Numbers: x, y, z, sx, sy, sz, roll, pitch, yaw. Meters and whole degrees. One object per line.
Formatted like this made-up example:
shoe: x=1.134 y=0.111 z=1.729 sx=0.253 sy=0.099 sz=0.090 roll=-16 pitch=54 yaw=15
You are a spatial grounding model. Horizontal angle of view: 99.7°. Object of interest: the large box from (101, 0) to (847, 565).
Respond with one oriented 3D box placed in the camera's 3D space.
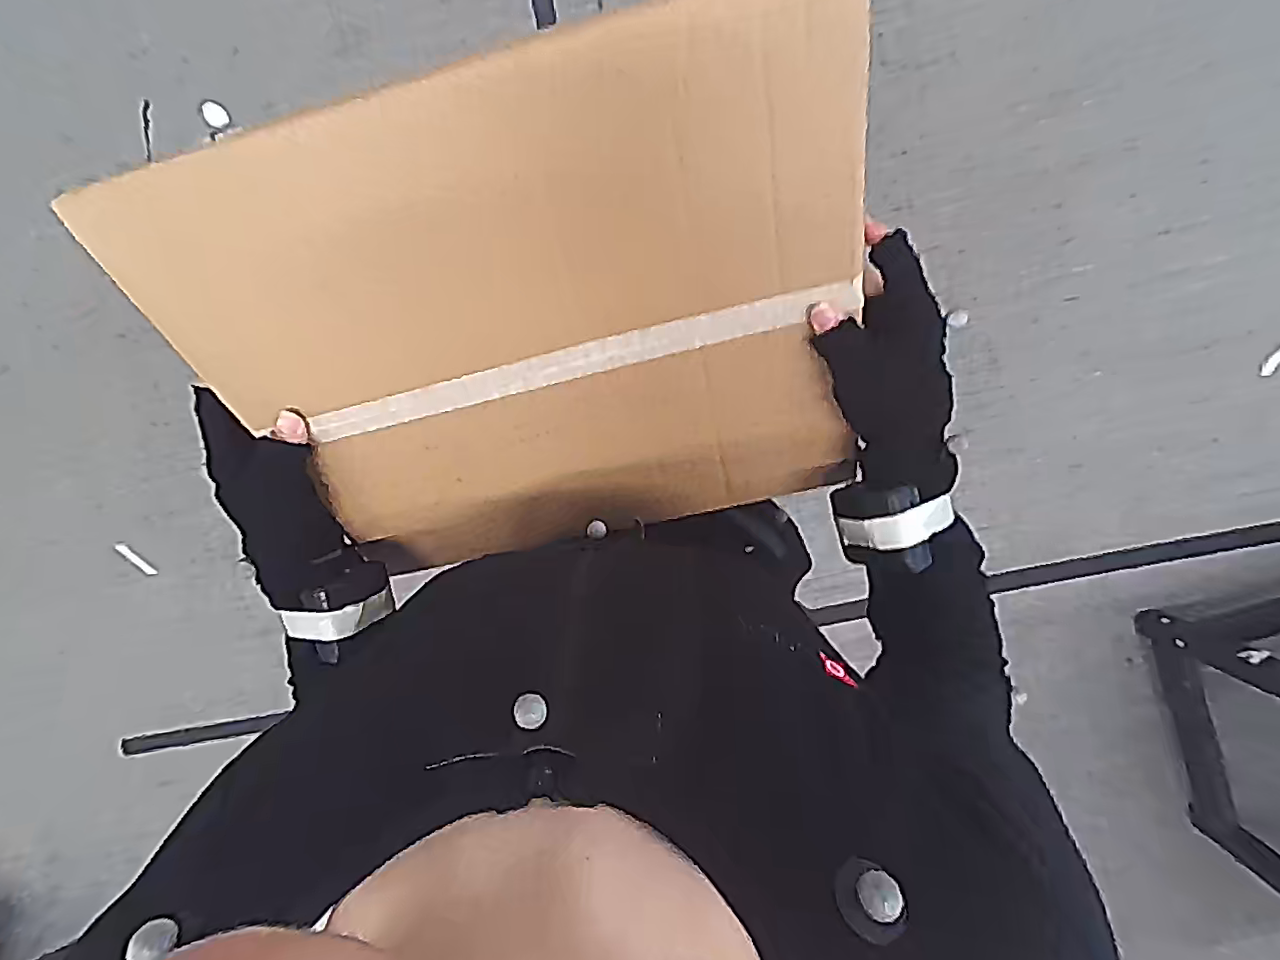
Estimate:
large box: x=-0.074 y=-0.174 z=0.472 sx=0.408 sy=0.320 sz=0.320 roll=-13 pitch=132 yaw=7
